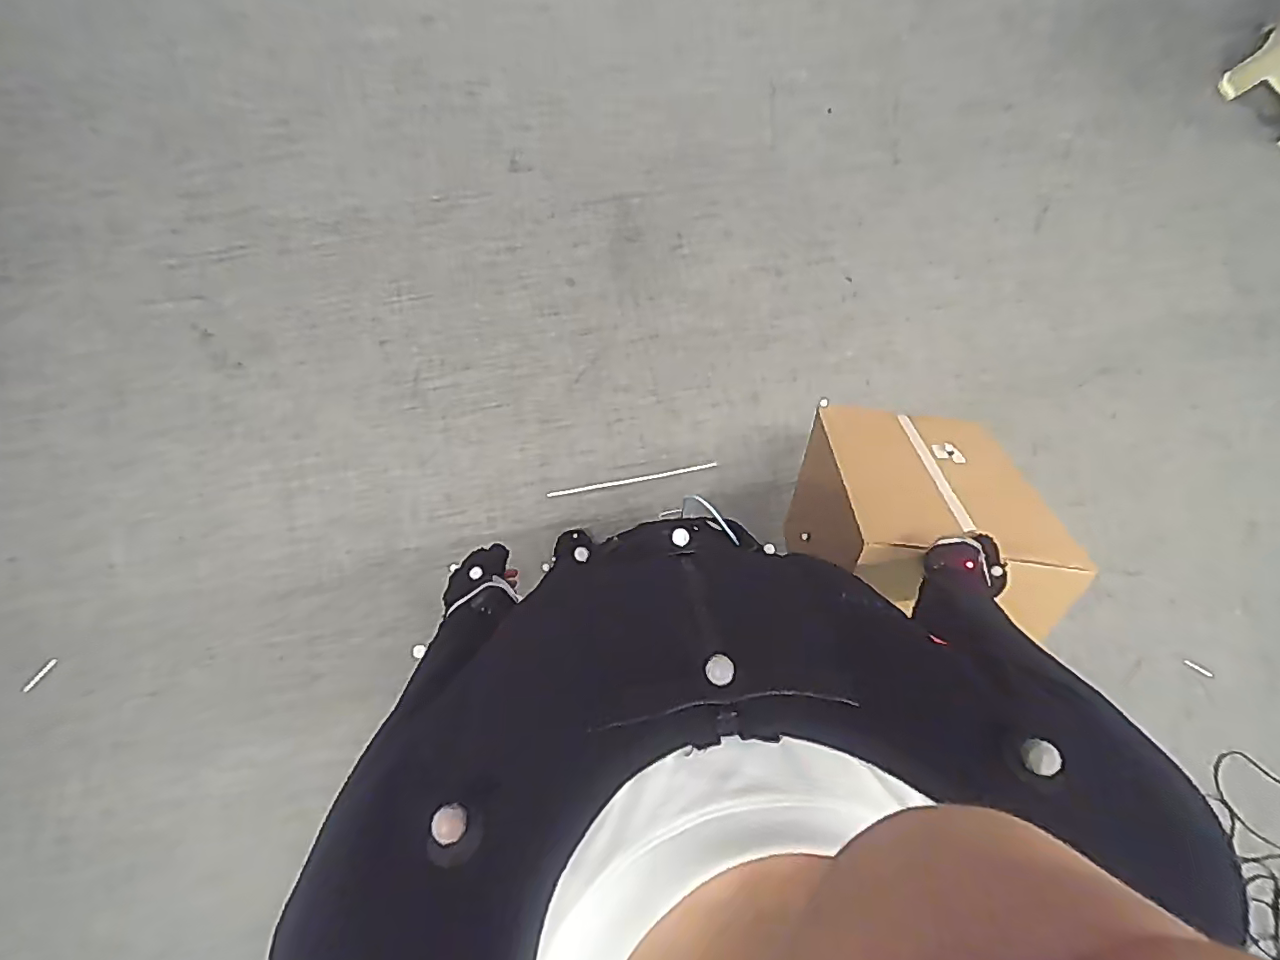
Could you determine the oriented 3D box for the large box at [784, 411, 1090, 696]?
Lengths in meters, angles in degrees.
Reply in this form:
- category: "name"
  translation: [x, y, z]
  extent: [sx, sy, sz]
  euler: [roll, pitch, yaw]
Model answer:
- category: "large box"
  translation: [0.465, 0.116, 0.976]
  extent: [0.320, 0.408, 0.320]
  euler: [8, 125, 2]
